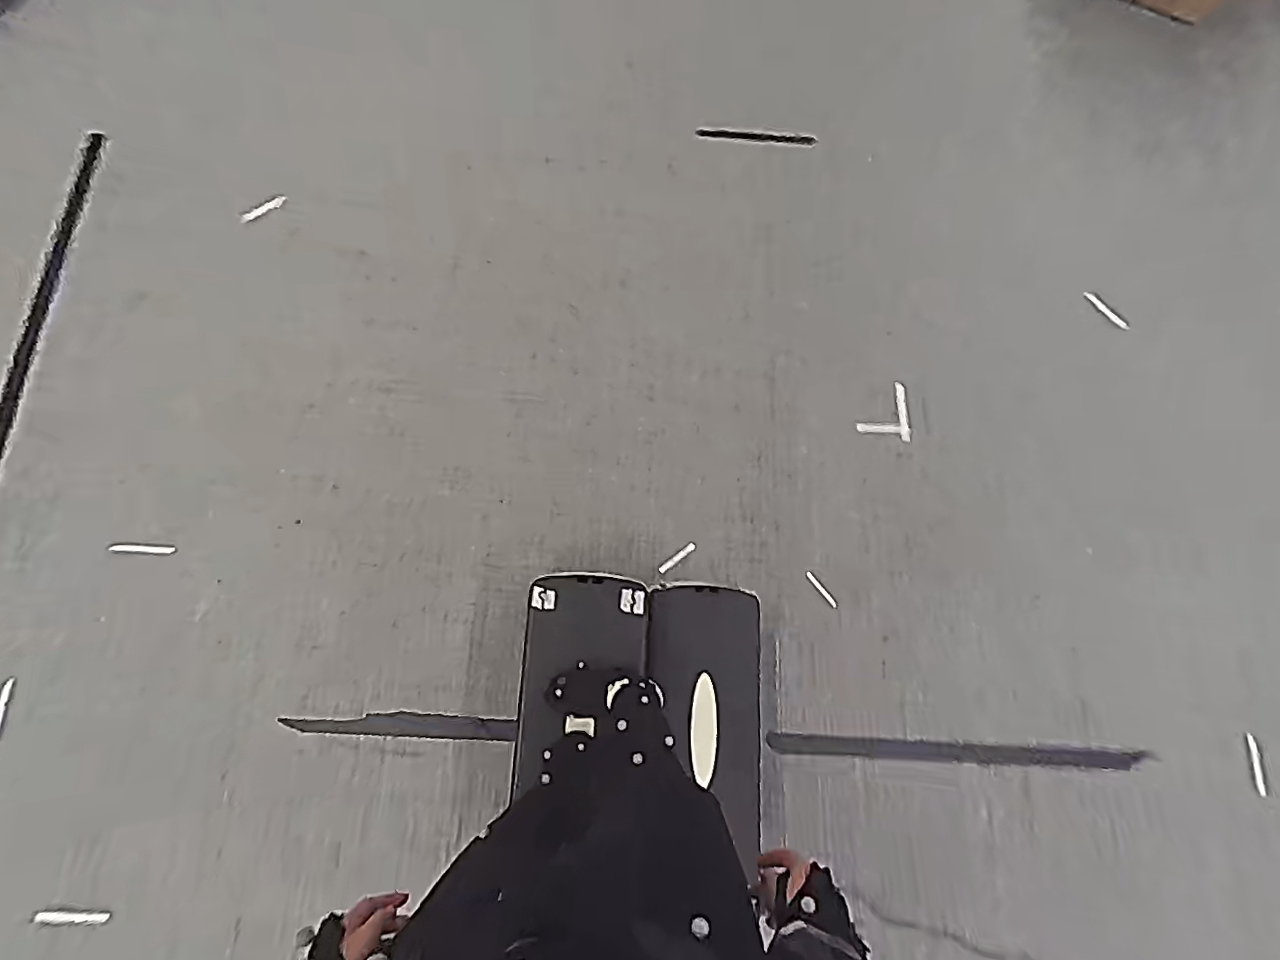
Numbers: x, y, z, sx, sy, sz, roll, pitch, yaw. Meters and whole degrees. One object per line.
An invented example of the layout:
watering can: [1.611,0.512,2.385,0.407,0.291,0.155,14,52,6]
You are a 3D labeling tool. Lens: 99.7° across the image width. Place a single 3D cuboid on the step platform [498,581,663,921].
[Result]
step platform: [-0.122,0.579,1.240,0.286,0.204,0.684,8,74,-2]
